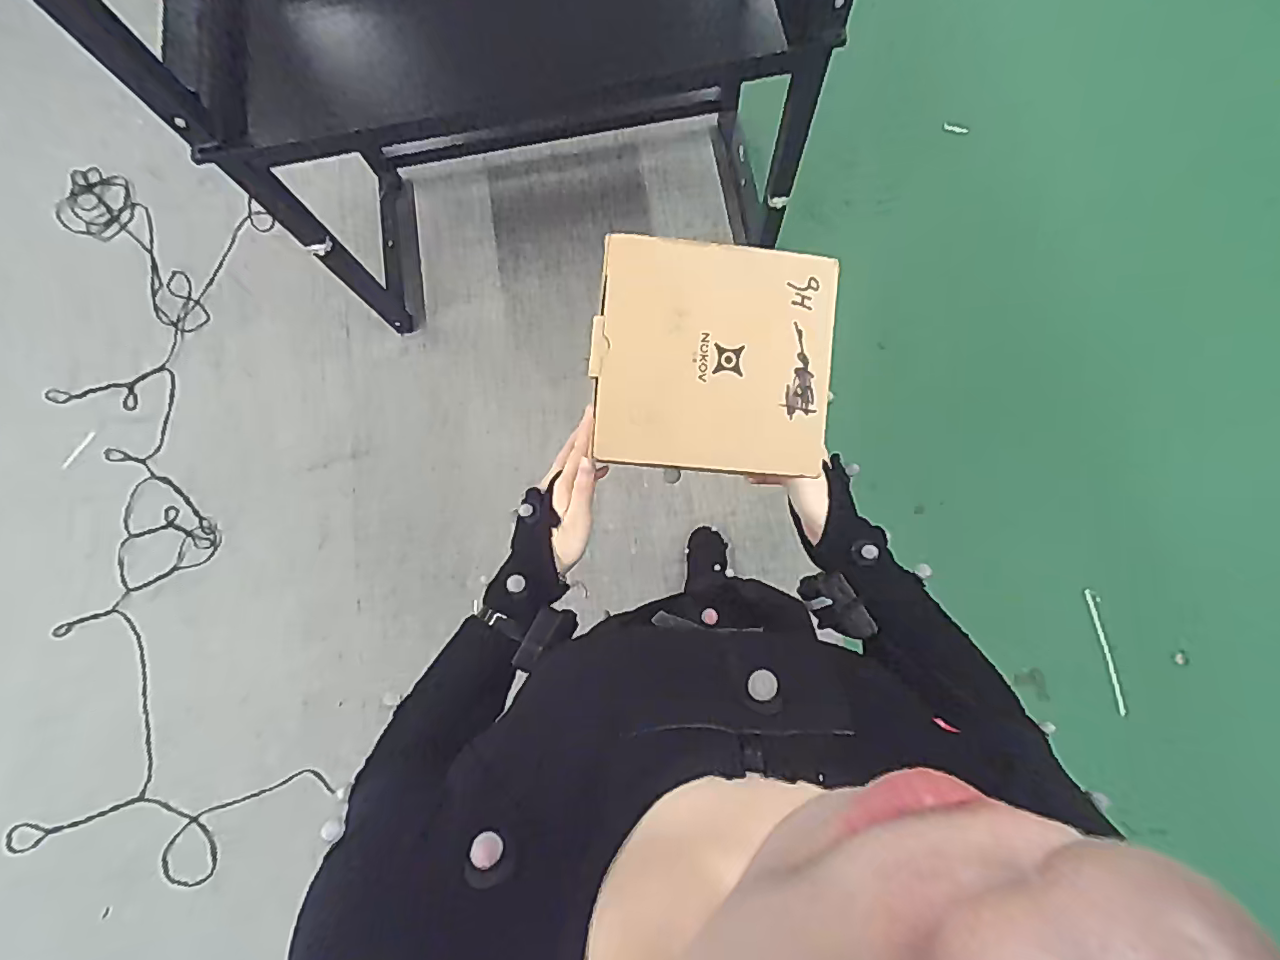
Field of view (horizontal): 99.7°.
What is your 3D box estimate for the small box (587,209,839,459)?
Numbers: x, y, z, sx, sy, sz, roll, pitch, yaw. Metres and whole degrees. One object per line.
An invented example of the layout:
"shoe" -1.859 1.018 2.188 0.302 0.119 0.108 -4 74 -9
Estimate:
"small box" 0.049 -0.108 0.473 0.179 0.176 0.168 5 91 -5
